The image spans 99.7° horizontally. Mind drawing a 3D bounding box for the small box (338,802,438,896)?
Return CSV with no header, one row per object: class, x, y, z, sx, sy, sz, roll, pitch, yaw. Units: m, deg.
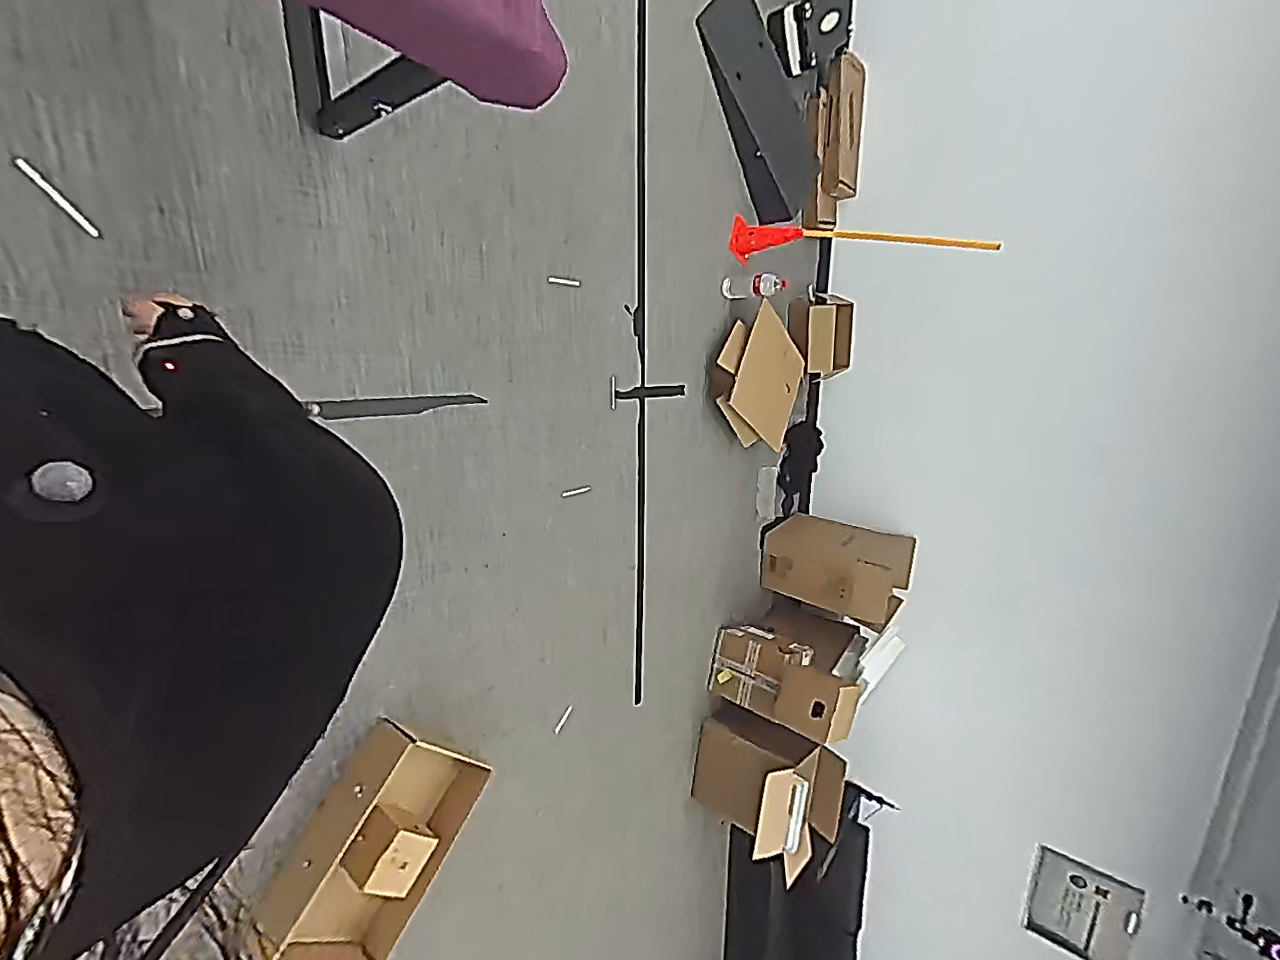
small box,-0.753,1.099,1.617,0.168,0.176,0.179,-59,139,-26
